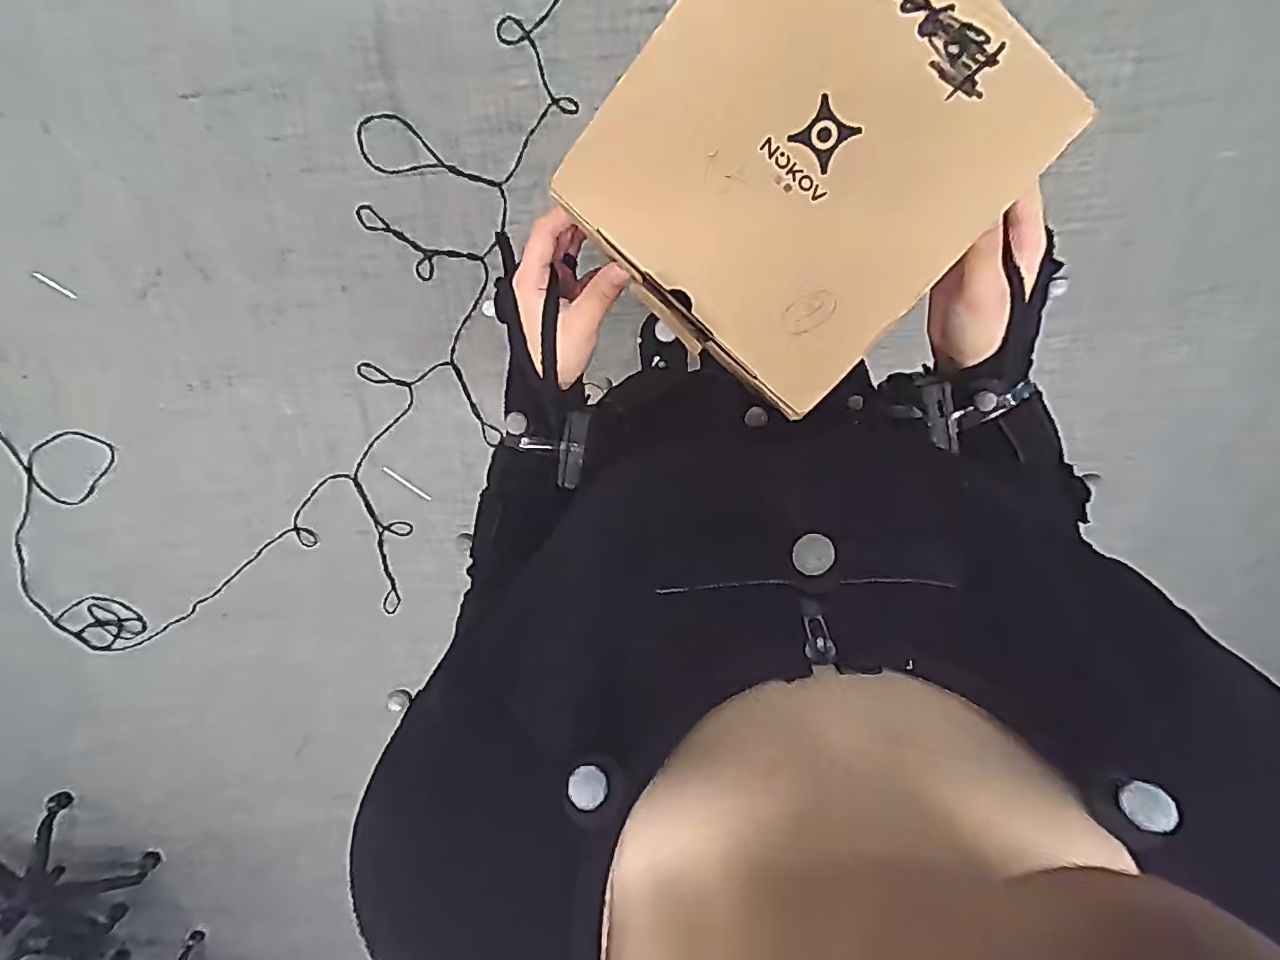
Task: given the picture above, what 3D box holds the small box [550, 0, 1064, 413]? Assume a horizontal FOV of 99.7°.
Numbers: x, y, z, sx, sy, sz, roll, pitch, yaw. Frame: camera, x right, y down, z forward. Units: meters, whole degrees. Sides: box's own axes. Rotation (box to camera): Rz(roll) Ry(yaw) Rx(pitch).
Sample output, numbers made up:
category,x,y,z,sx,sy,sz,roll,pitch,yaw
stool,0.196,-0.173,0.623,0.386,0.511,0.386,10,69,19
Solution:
category,x,y,z,sx,sy,sz,roll,pitch,yaw
small box,0.079,-0.165,0.326,0.168,0.176,0.179,41,104,-5
